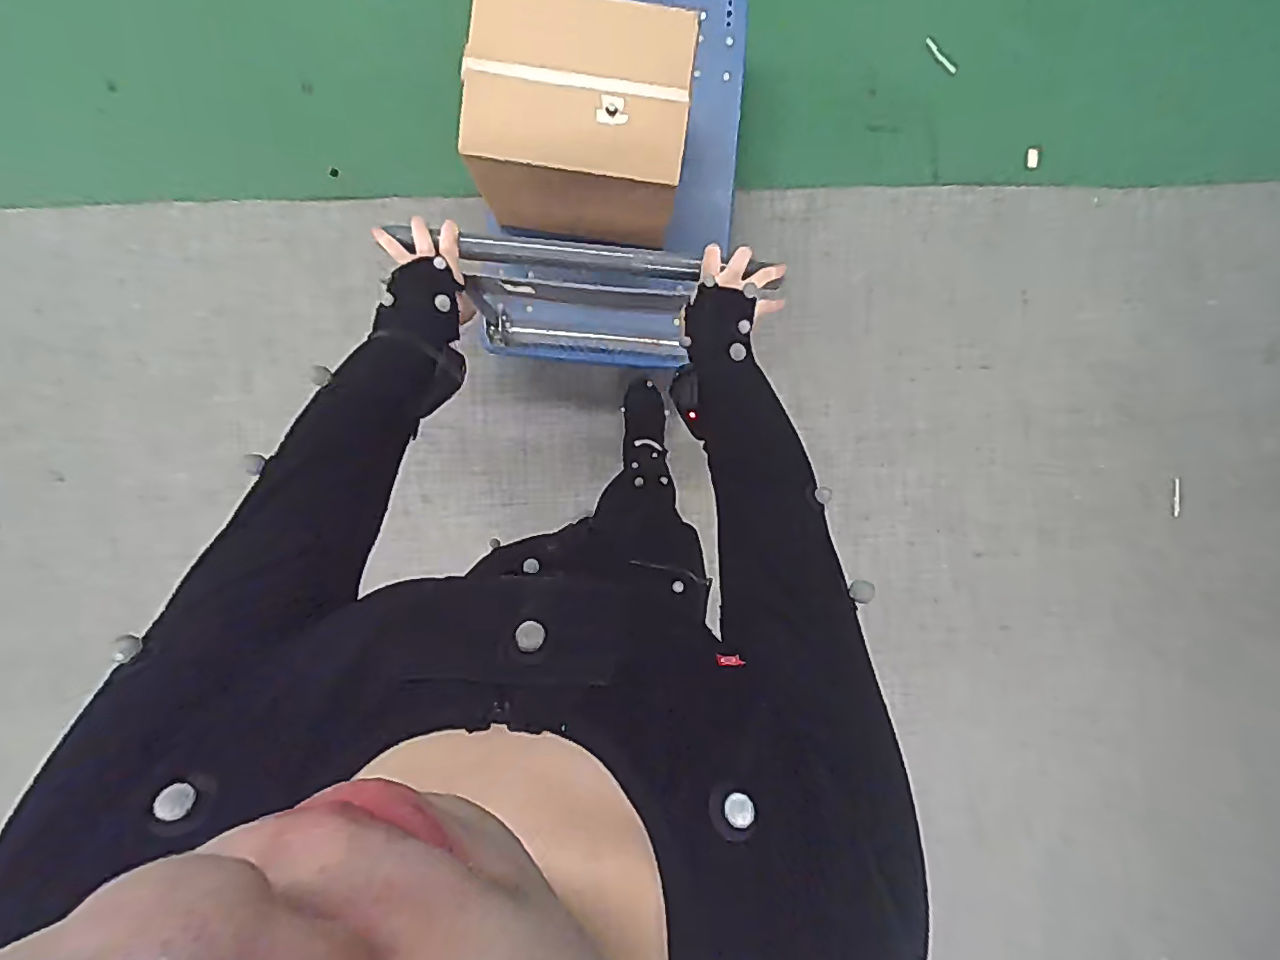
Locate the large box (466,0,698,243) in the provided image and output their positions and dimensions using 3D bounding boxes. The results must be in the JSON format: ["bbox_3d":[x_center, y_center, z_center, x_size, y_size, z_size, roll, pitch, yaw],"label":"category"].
[{"bbox_3d":[-0.116,-0.733,1.138,0.408,0.320,0.320,7,92,-3],"label":"large box"}]
